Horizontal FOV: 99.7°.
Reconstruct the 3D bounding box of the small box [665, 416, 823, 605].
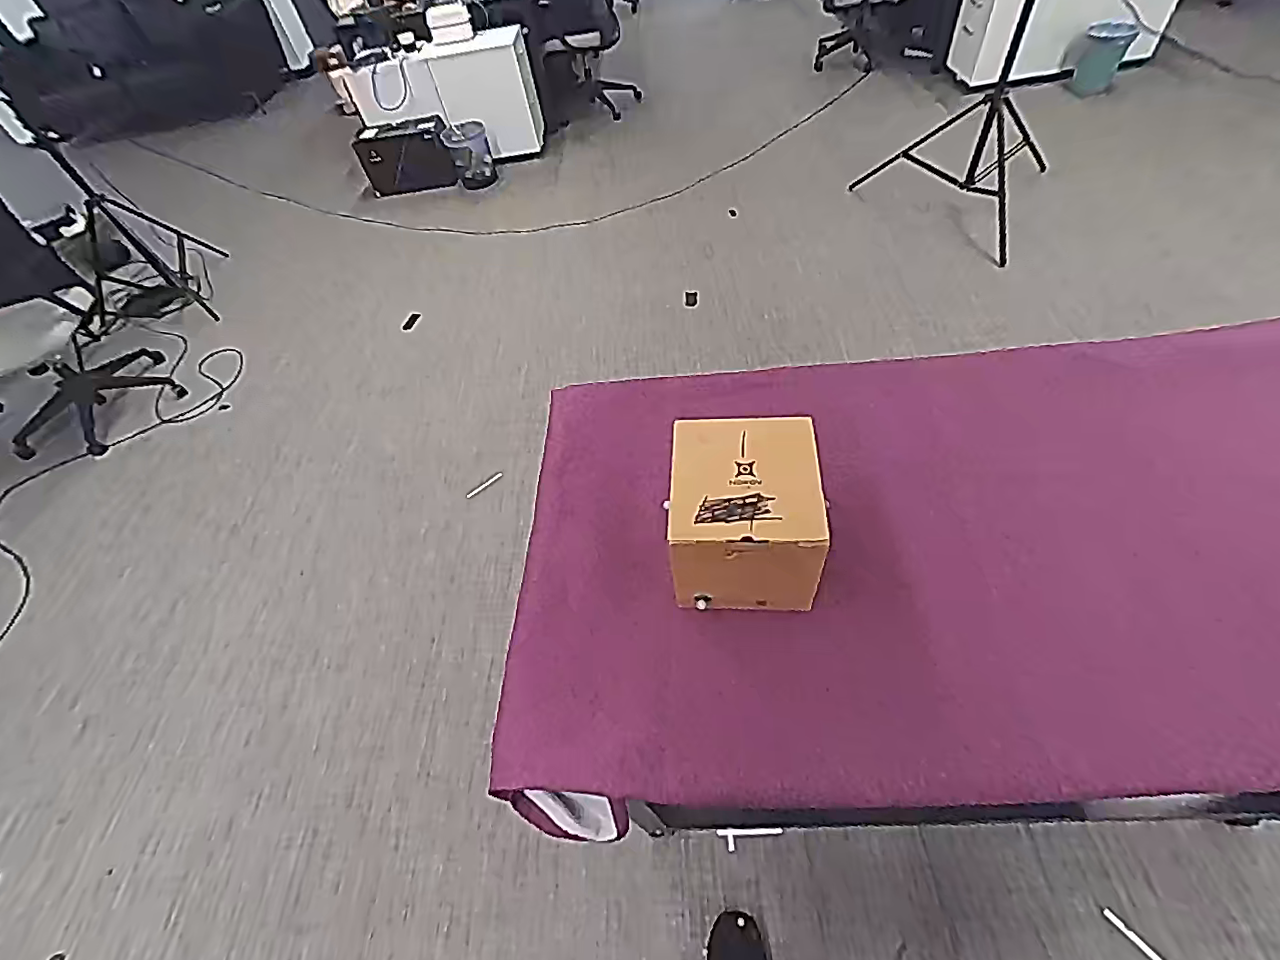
[{"bbox_3d":[0.124,0.042,0.669,0.168,0.176,0.179,0,52,8],"label":"small box"}]
